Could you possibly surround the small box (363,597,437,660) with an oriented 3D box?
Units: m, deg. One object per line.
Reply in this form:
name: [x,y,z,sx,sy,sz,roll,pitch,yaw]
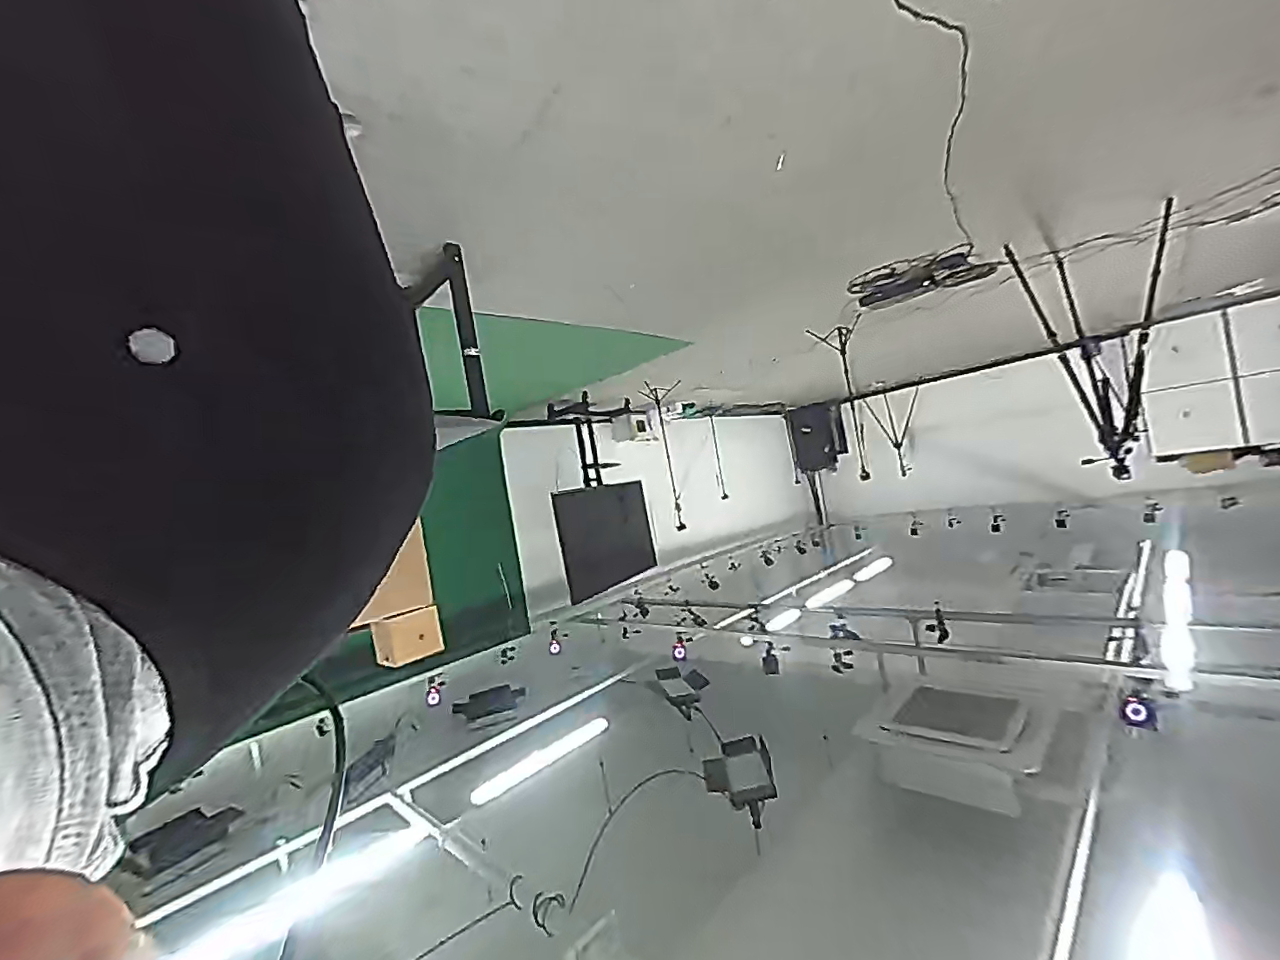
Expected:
small box: [-0.862,0.524,1.937,0.168,0.176,0.179,-11,-179,42]
